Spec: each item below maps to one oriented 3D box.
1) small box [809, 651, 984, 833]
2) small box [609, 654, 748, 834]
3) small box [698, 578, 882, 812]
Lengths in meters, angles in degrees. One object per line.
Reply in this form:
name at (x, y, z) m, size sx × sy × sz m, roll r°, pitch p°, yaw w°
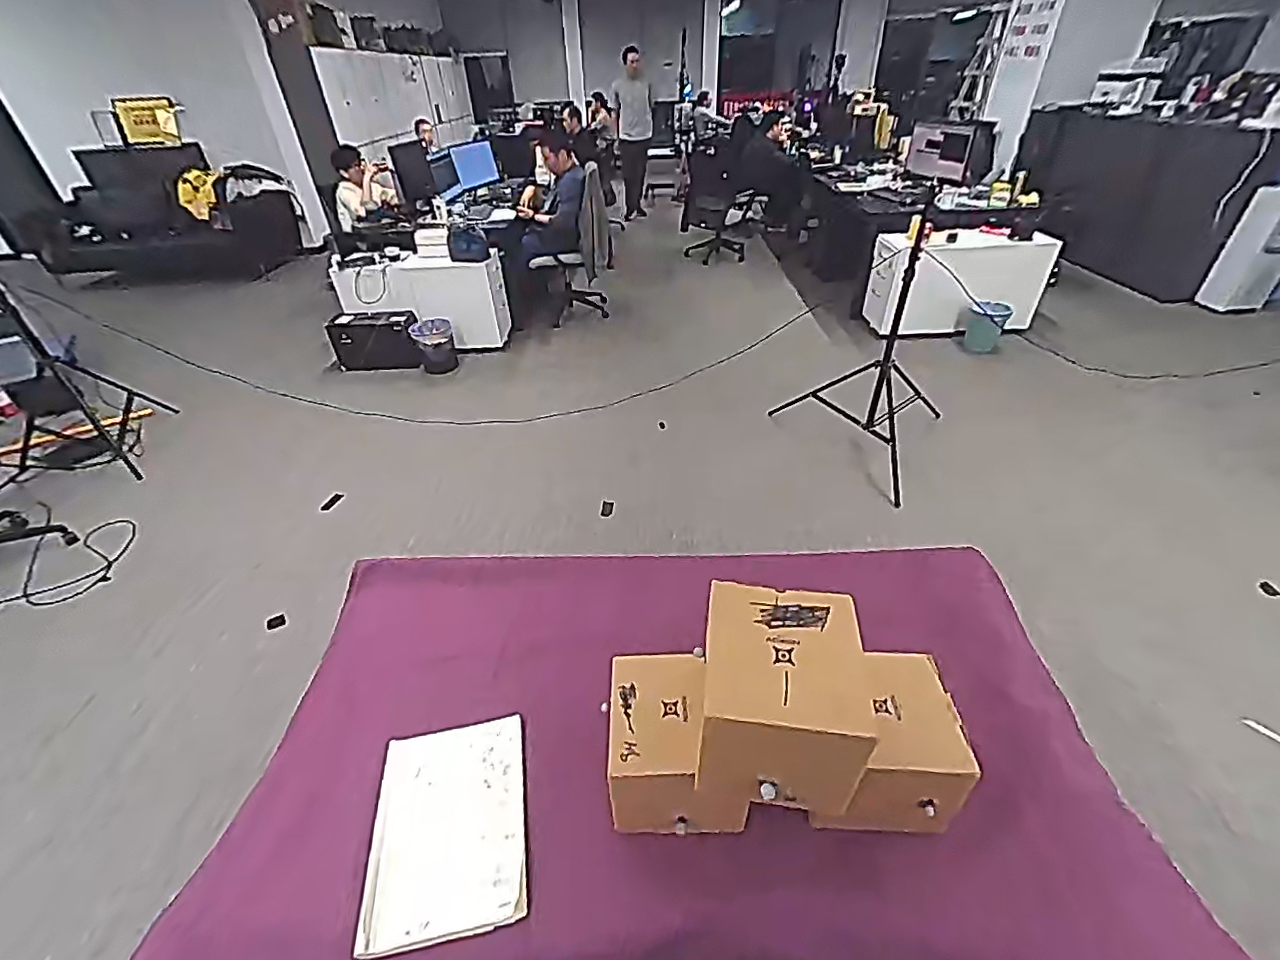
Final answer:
small box at (0.317, 0.352, 0.732) m, size 0.179 × 0.176 × 0.168 m, roll -1°, pitch 35°, yaw 5°
small box at (0.052, 0.359, 0.739) m, size 0.179 × 0.176 × 0.168 m, roll -1°, pitch 36°, yaw 1°
small box at (0.156, 0.240, 0.617) m, size 0.168 × 0.176 × 0.179 m, roll 4°, pitch 37°, yaw 8°
